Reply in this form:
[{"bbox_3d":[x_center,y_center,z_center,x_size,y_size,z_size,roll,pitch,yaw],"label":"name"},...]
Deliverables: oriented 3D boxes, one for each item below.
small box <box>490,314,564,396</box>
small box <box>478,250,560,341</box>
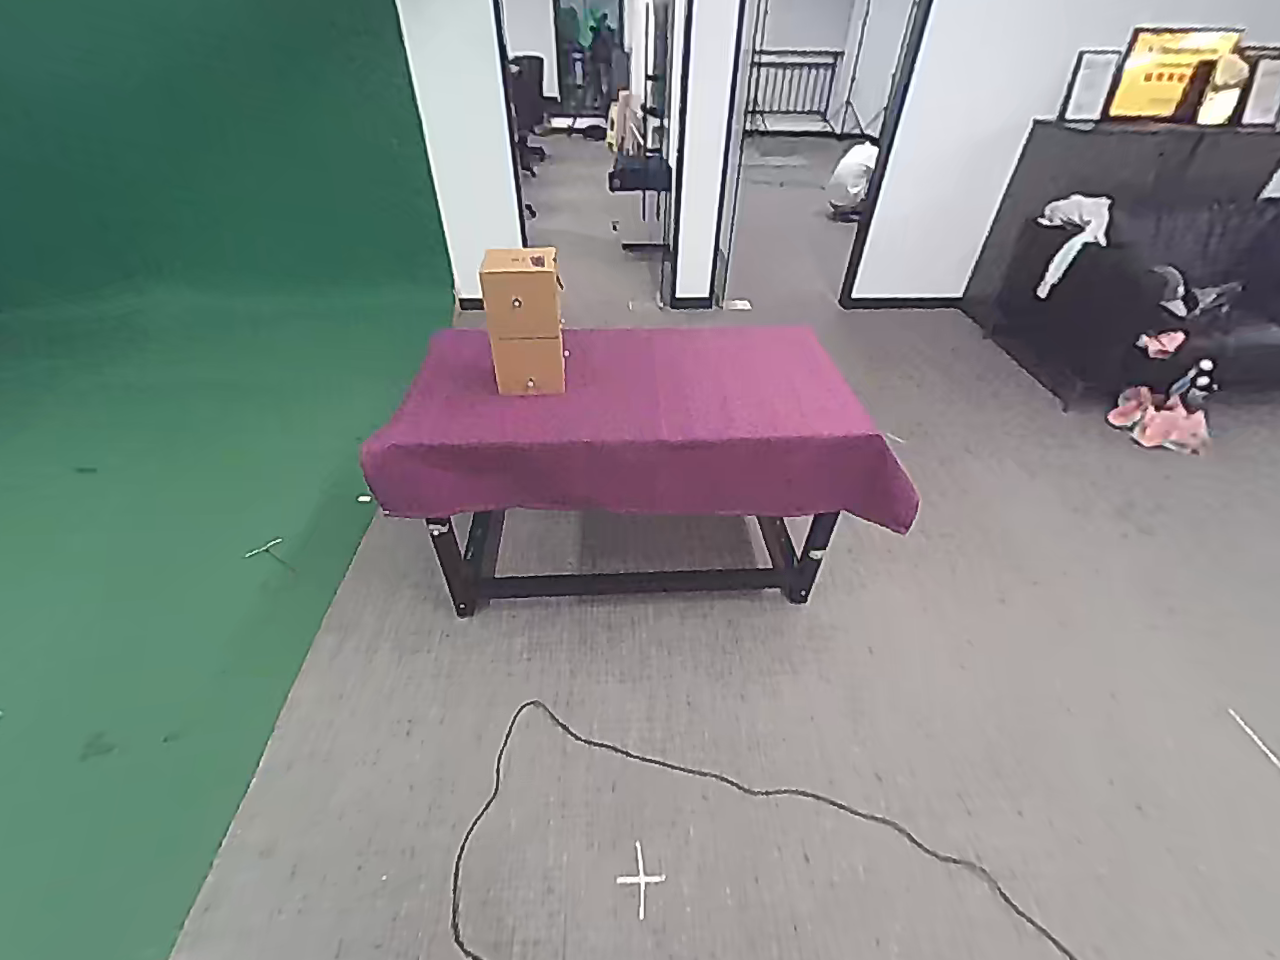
[{"bbox_3d":[-0.299,-0.339,1.468,0.179,0.176,0.168,-2,41,-5],"label":"small box"},{"bbox_3d":[-0.295,-0.463,1.359,0.179,0.176,0.168,-3,41,-4],"label":"small box"}]
